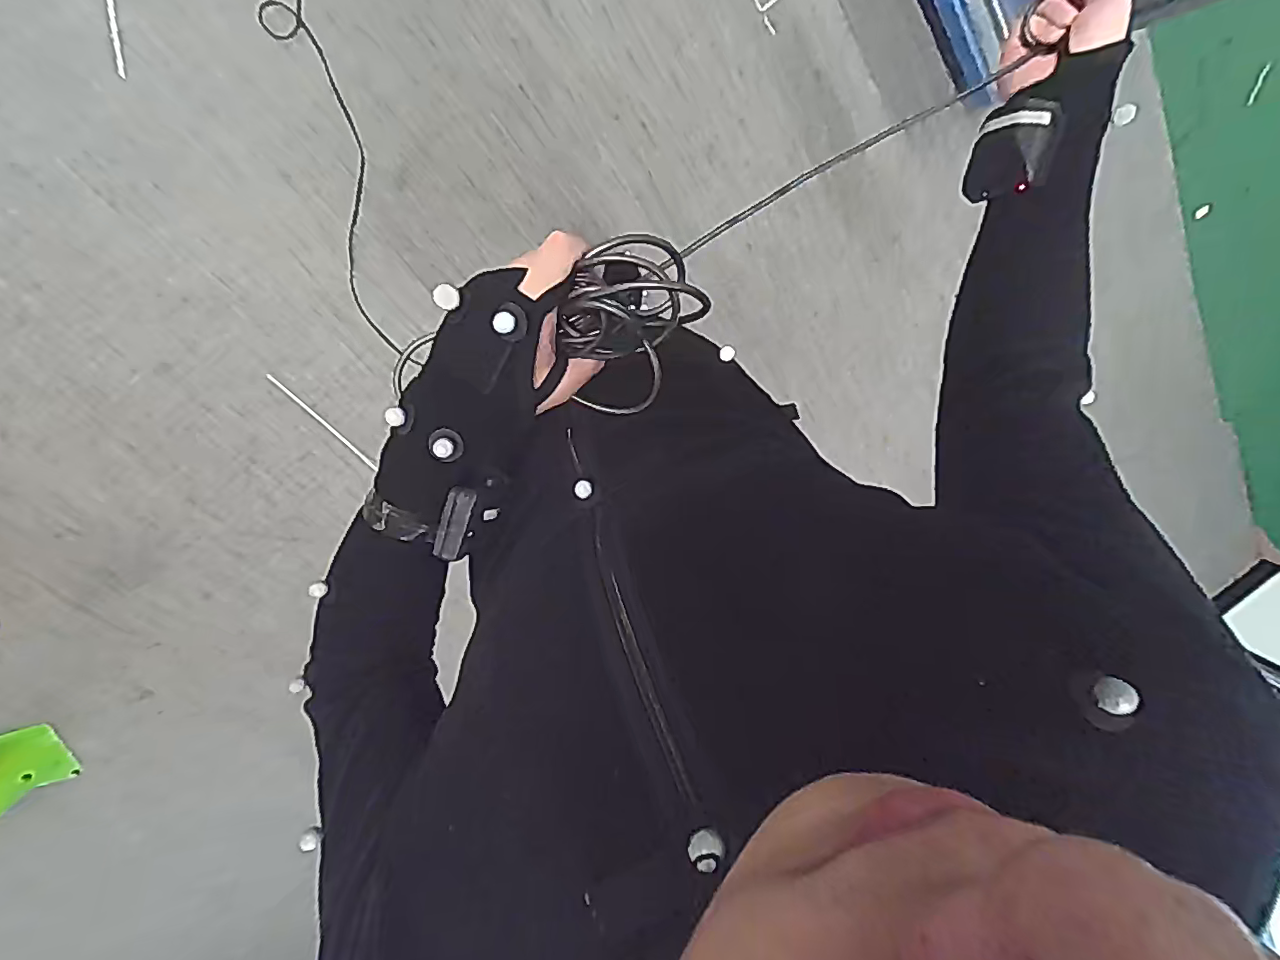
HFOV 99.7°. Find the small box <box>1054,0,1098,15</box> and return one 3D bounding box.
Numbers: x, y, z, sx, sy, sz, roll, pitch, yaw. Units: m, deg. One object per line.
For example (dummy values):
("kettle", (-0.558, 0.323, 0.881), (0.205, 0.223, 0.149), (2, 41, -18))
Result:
("small box", (1.061, -1.210, 1.209), (0.179, 0.176, 0.168), (-40, 114, 4))
